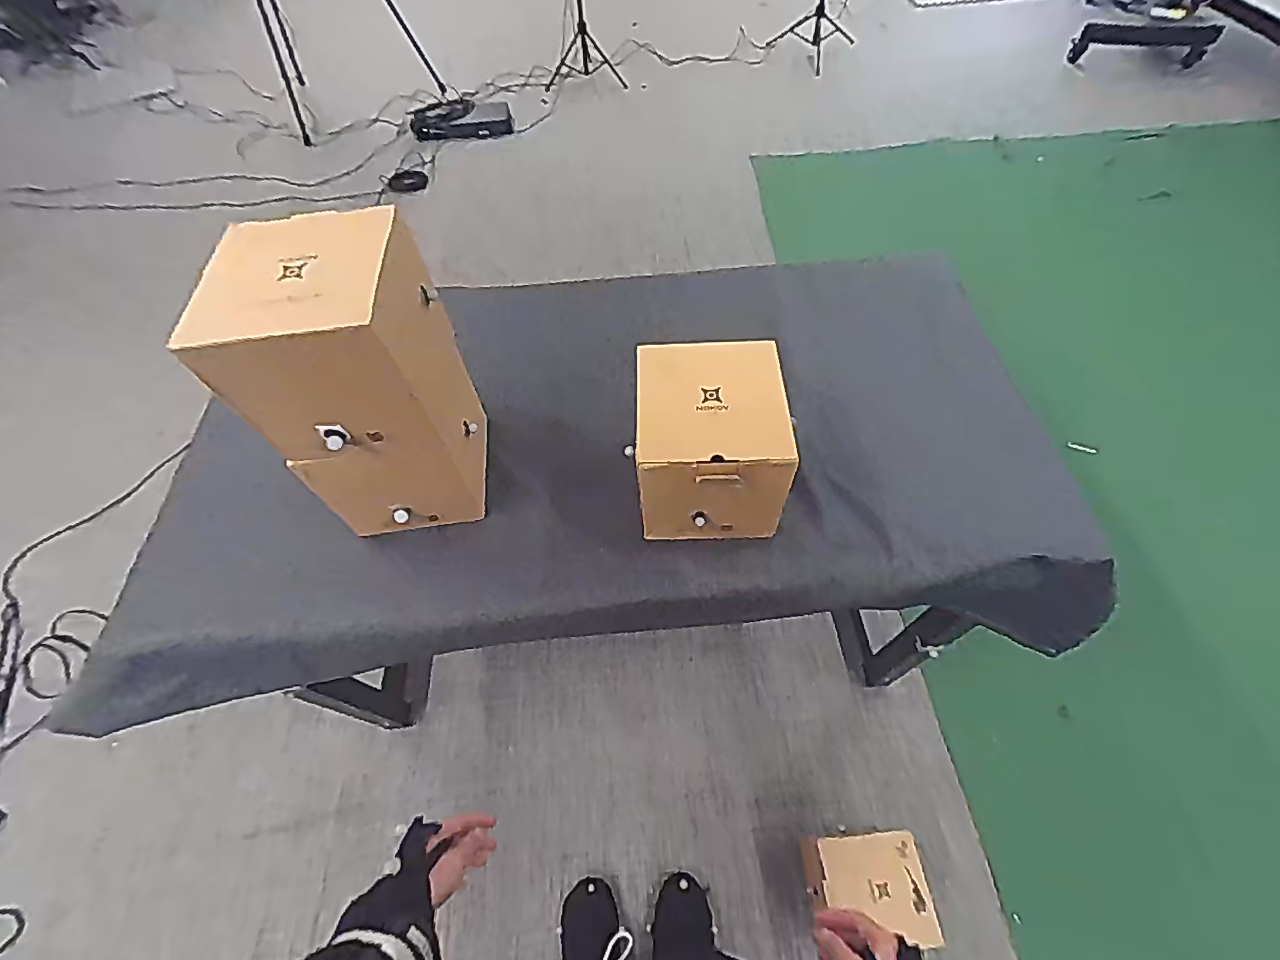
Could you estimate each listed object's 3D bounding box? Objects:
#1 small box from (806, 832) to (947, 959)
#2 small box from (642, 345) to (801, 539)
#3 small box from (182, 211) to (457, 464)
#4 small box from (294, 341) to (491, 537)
[{"bbox_3d":[0.415,0.755,0.991,0.179,0.176,0.168,-6,55,-1],"label":"small box"},{"bbox_3d":[0.085,-0.043,0.664,0.168,0.176,0.179,-2,56,1],"label":"small box"},{"bbox_3d":[-0.297,-0.140,0.551,0.168,0.176,0.179,-8,57,-1],"label":"small box"},{"bbox_3d":[-0.294,-0.049,0.686,0.168,0.176,0.179,-8,57,-2],"label":"small box"}]
